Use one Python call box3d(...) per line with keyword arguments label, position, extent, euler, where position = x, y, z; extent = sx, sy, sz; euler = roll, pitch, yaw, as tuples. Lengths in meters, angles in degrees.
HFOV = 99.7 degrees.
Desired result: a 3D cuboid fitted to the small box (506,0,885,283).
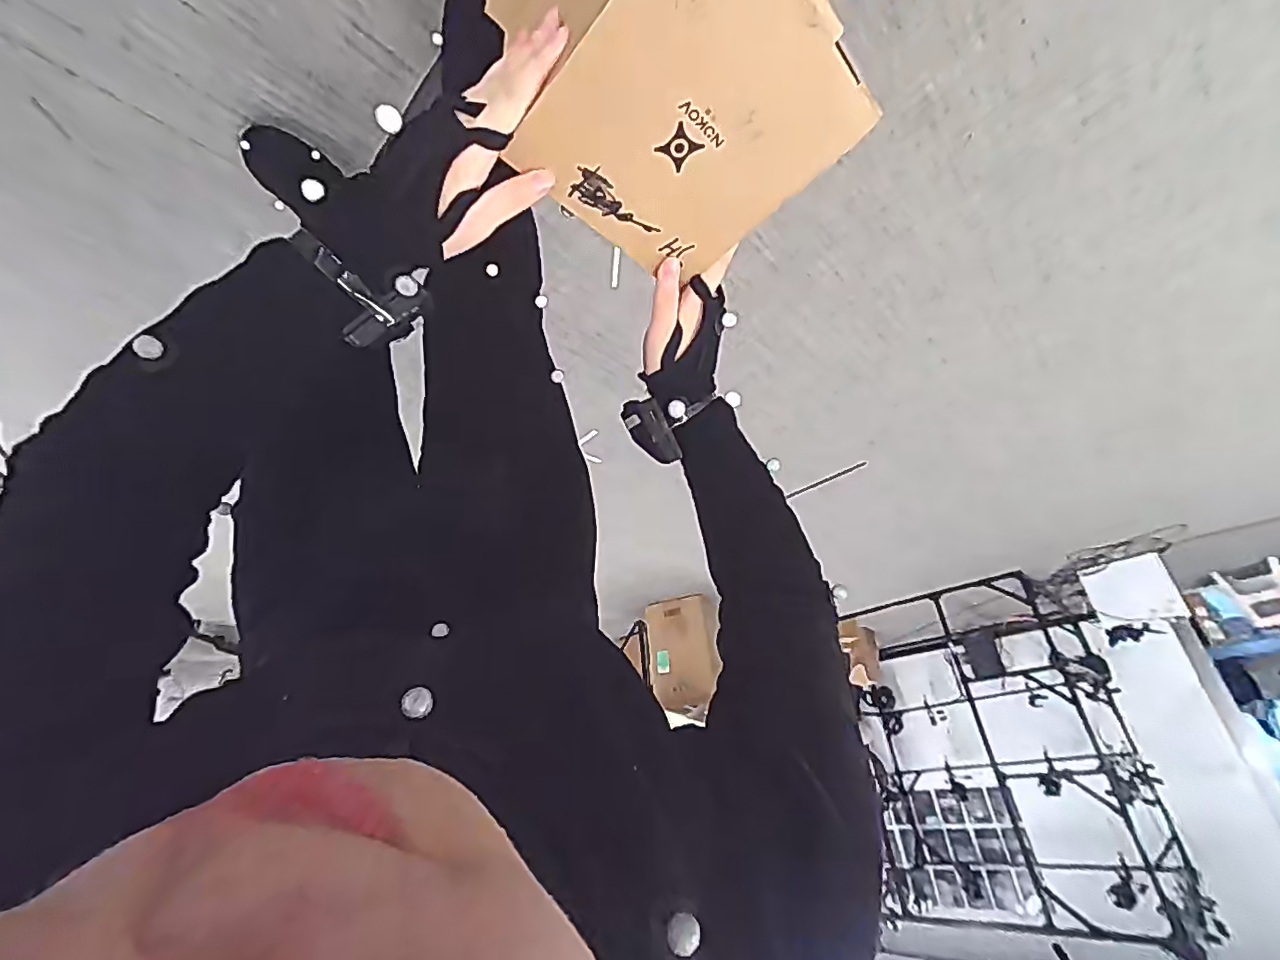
box3d(label="small box", position=(0.025, -0.282, 0.363), extent=(0.179, 0.176, 0.168), euler=(-30, 143, 36))
